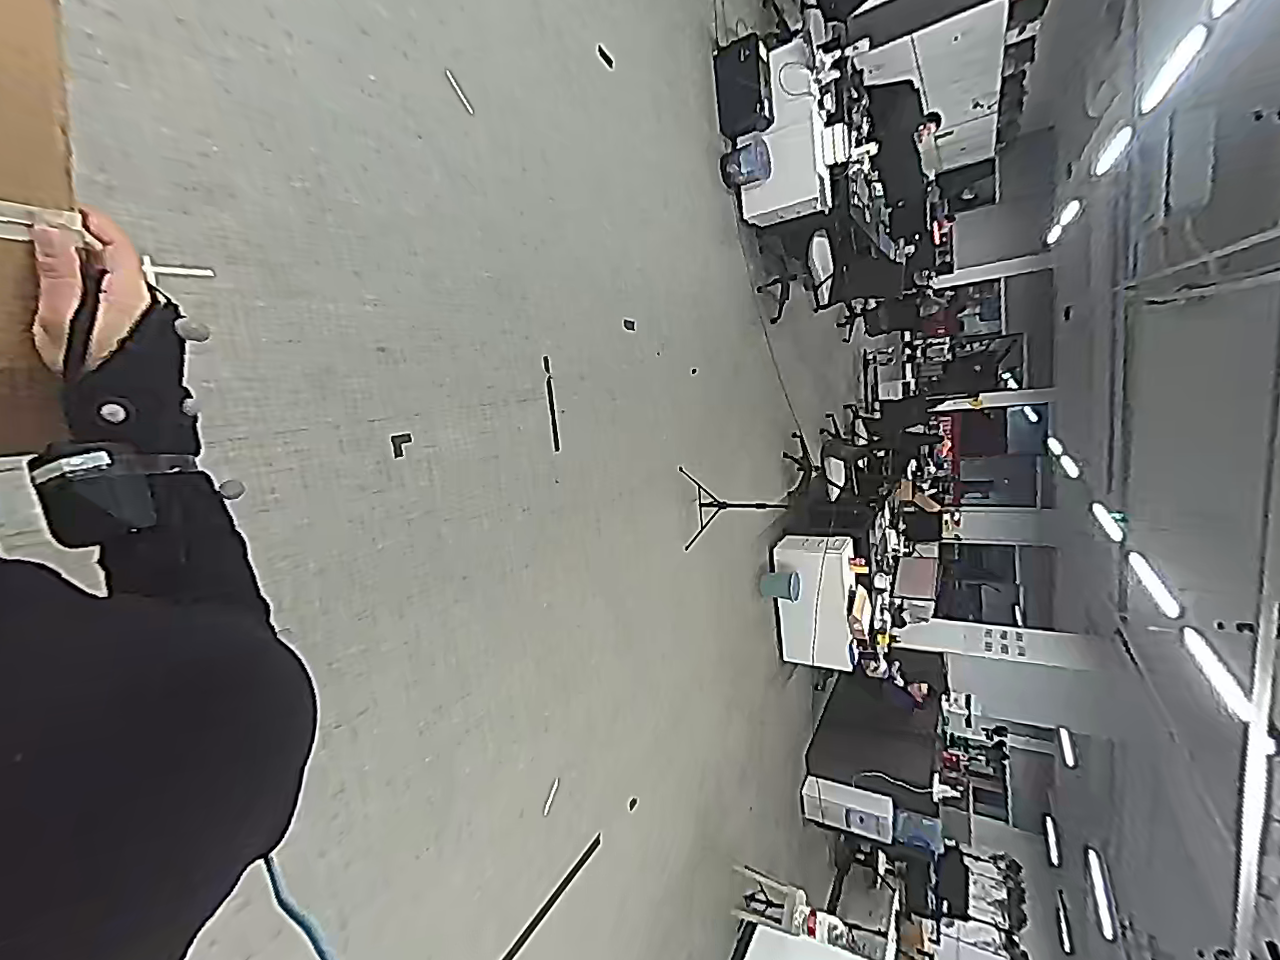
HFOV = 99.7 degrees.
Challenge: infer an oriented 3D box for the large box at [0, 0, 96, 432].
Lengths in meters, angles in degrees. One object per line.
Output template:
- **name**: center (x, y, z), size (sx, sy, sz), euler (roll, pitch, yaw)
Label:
- **large box**: center (-0.595, -0.204, 0.251), size (0.408, 0.320, 0.320), euler (-19, 135, -55)
